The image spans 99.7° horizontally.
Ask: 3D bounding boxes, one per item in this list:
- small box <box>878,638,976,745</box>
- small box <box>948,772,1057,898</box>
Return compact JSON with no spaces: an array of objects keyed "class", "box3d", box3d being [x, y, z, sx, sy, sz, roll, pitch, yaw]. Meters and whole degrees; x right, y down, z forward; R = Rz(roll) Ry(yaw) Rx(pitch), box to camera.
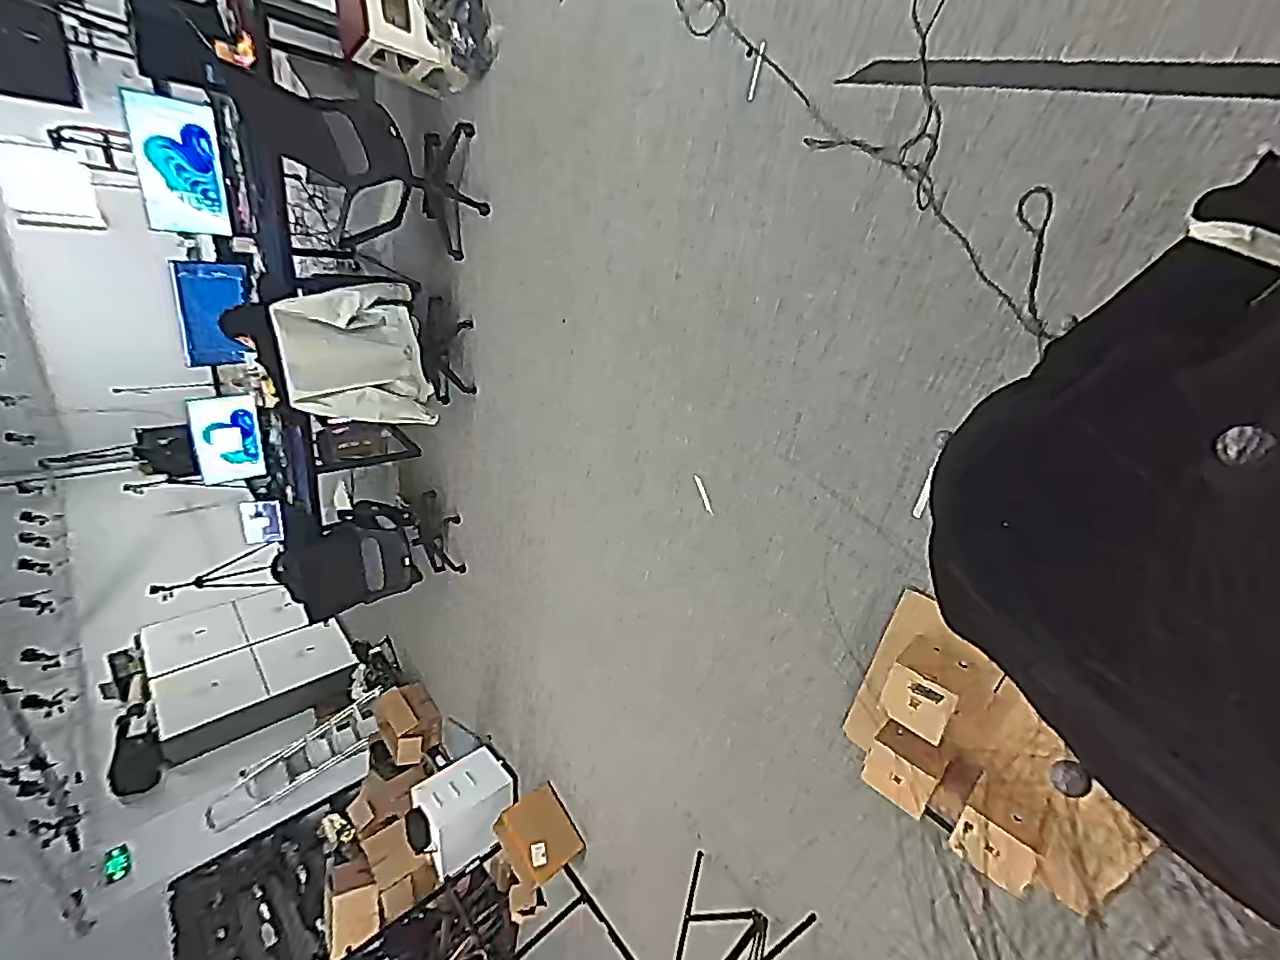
[{"class":"small box","box3d":[0.780,0.563,1.463,0.168,0.176,0.179,28,121,39]},{"class":"small box","box3d":[0.938,0.906,1.397,0.179,0.176,0.168,26,120,38]}]
